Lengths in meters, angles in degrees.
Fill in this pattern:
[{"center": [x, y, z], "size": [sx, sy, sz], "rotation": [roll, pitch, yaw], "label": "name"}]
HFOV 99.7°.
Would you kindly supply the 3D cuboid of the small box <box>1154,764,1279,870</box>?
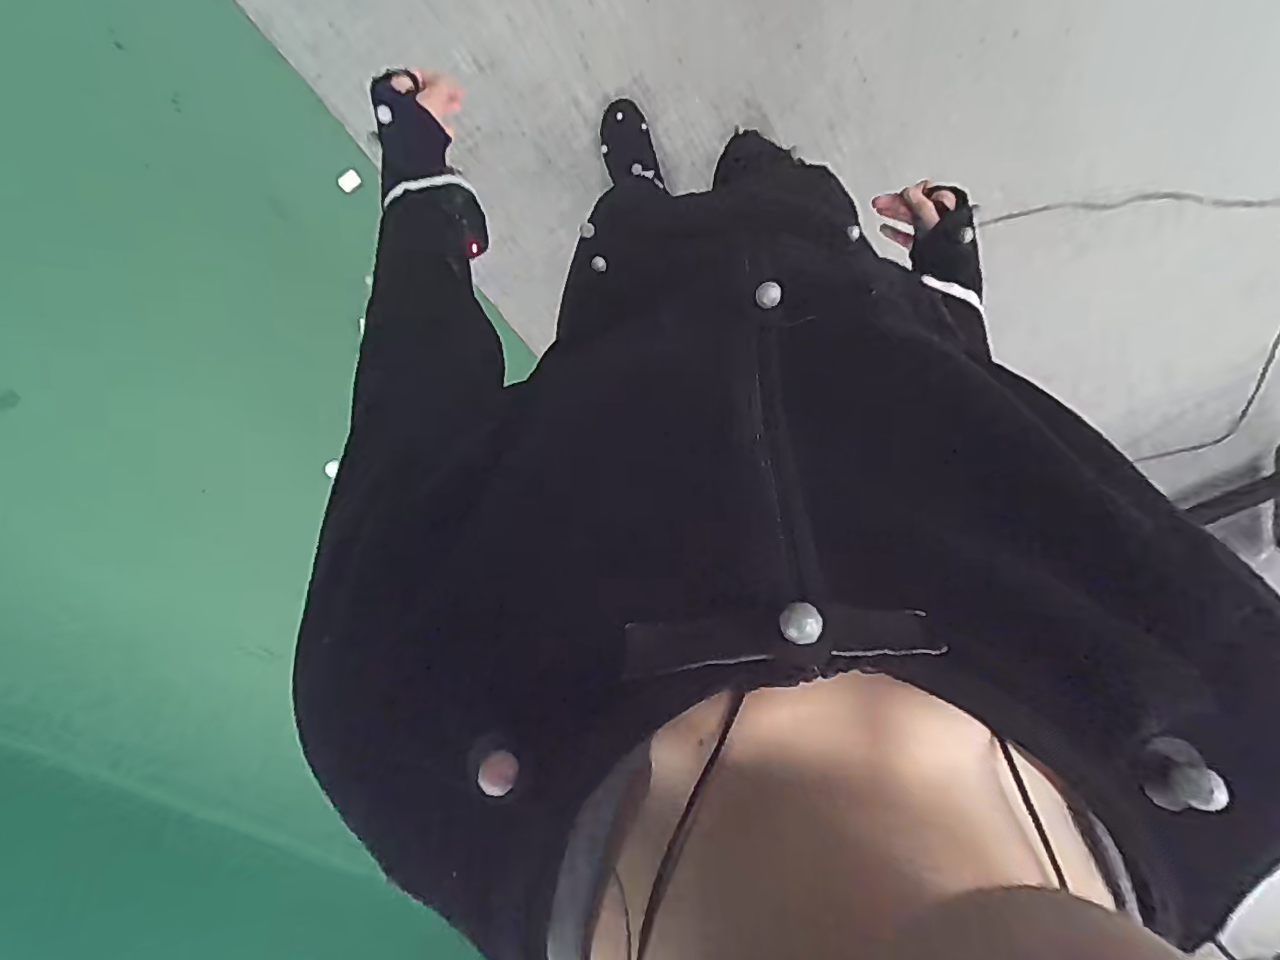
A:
[{"center": [1.494, 0.865, 1.393], "size": [0.179, 0.176, 0.168], "rotation": [-33, 120, 19], "label": "small box"}]
